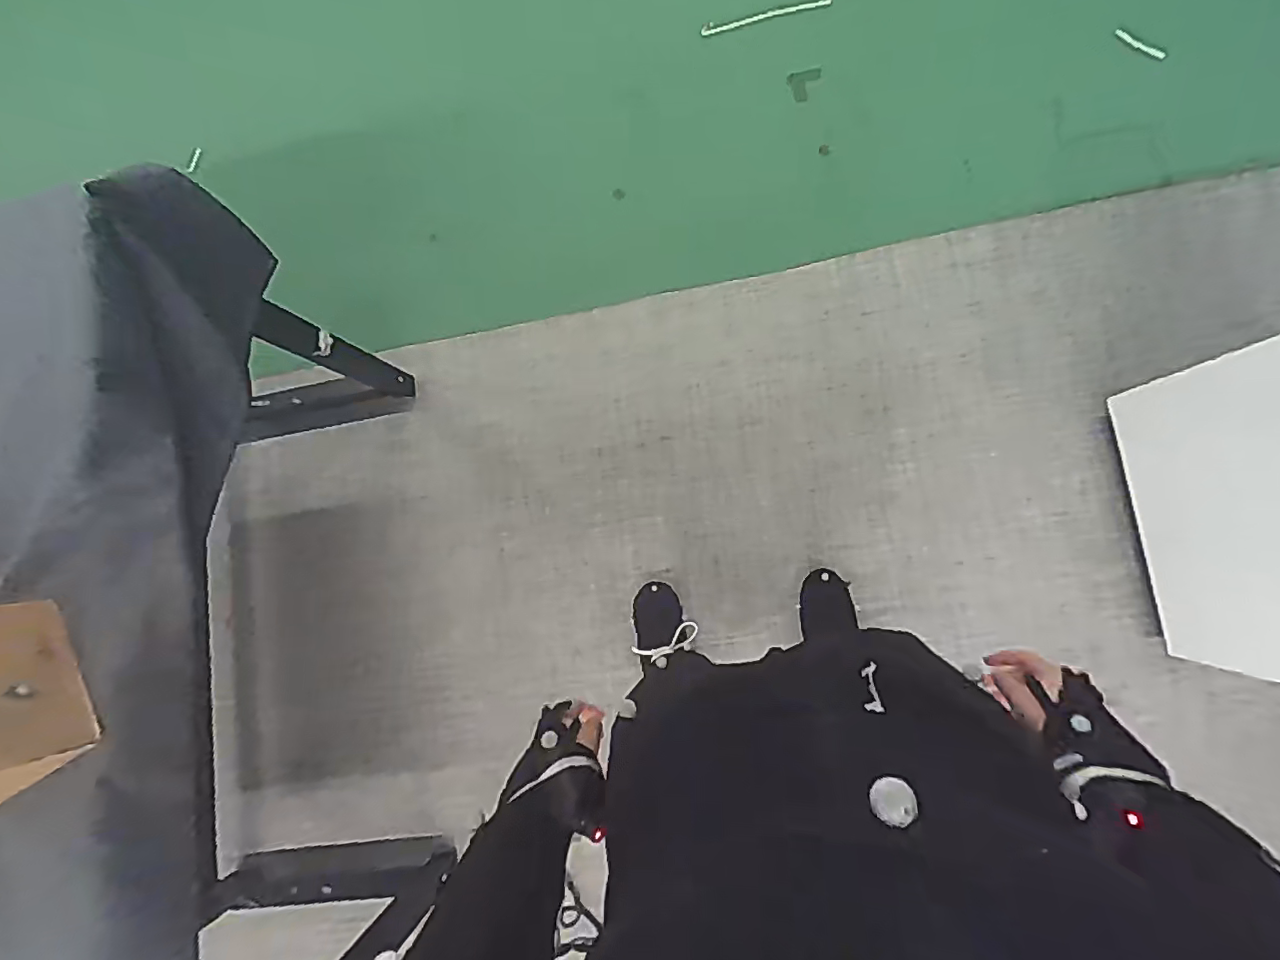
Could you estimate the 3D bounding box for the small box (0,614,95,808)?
[{"bbox_3d":[-0.690,0.246,0.509,0.179,0.176,0.168,-32,80,4],"label":"small box"}]
